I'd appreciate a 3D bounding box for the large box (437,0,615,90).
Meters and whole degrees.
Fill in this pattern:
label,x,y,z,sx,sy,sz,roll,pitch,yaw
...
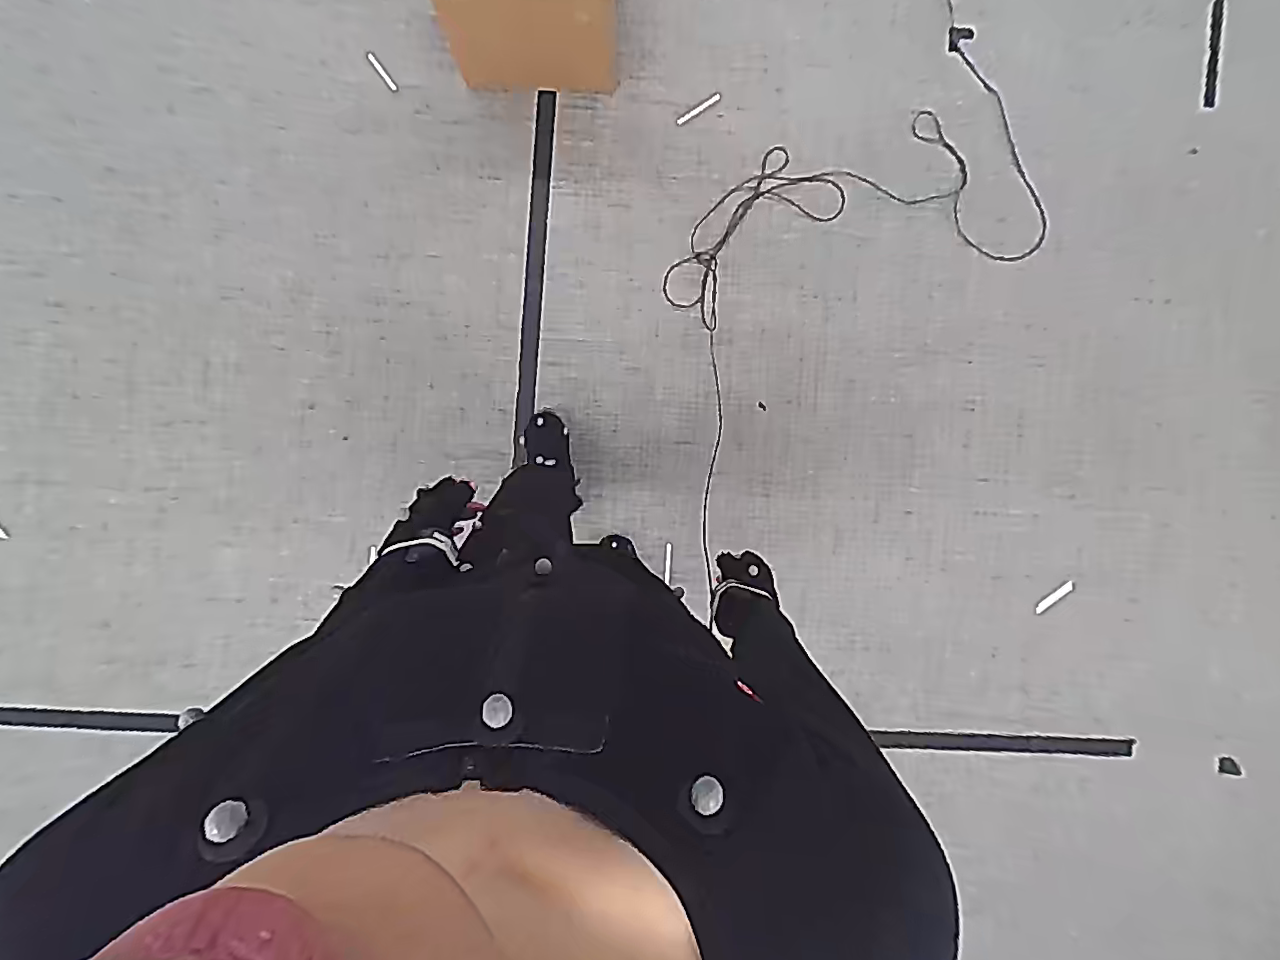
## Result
label,x,y,z,sx,sy,sz,roll,pitch,yaw
large box,-0.265,-1.217,1.328,0.408,0.320,0.320,0,91,-2
